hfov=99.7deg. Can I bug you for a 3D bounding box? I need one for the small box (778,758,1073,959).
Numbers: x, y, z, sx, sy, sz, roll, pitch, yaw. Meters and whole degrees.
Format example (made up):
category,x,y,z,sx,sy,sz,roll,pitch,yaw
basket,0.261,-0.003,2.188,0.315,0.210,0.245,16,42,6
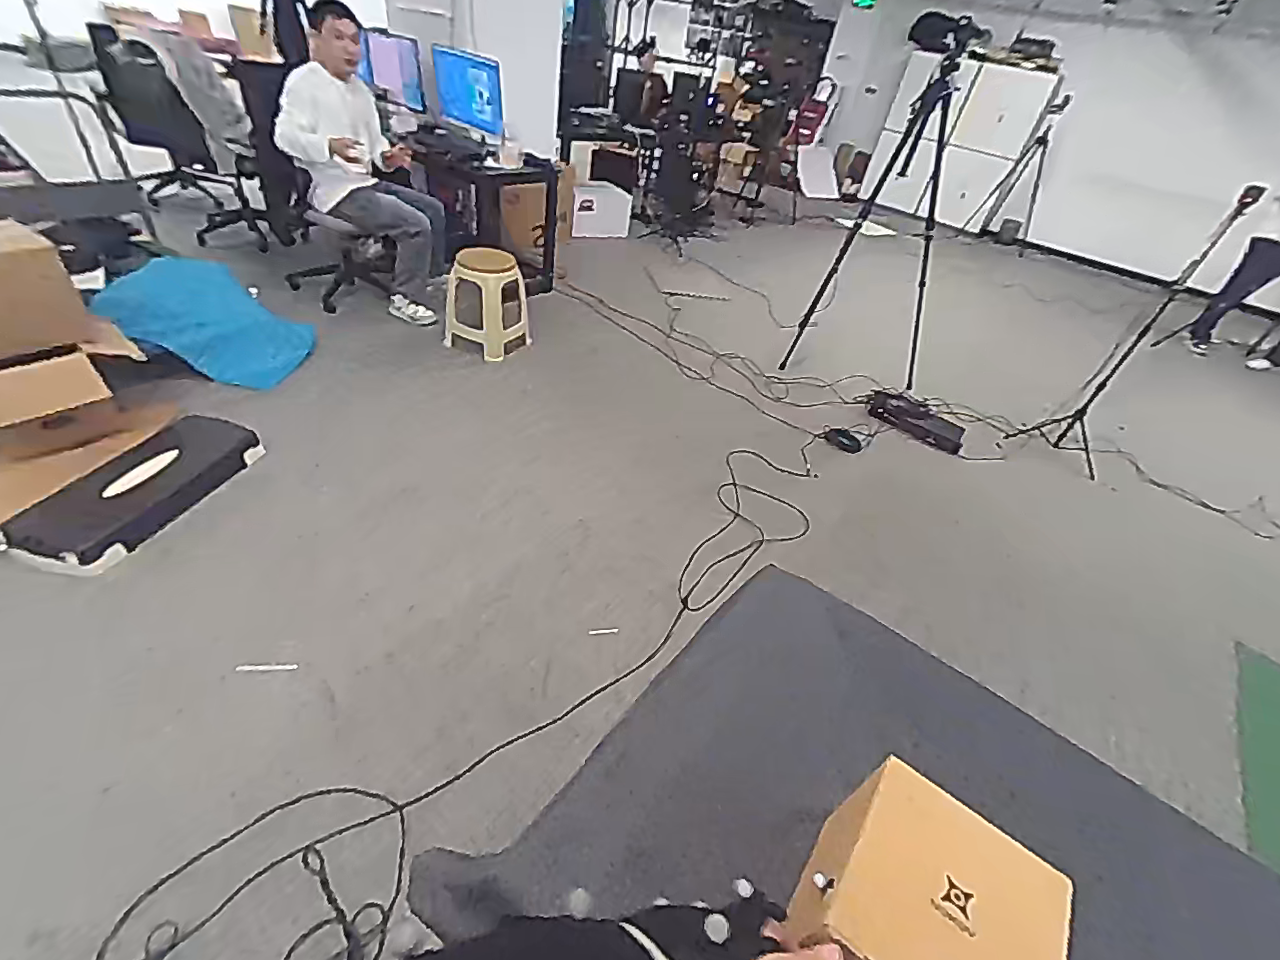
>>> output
category,x,y,z,sx,sy,sz,roll,pitch,yaw
small box,0.250,0.409,0.497,0.168,0.176,0.179,32,43,23
